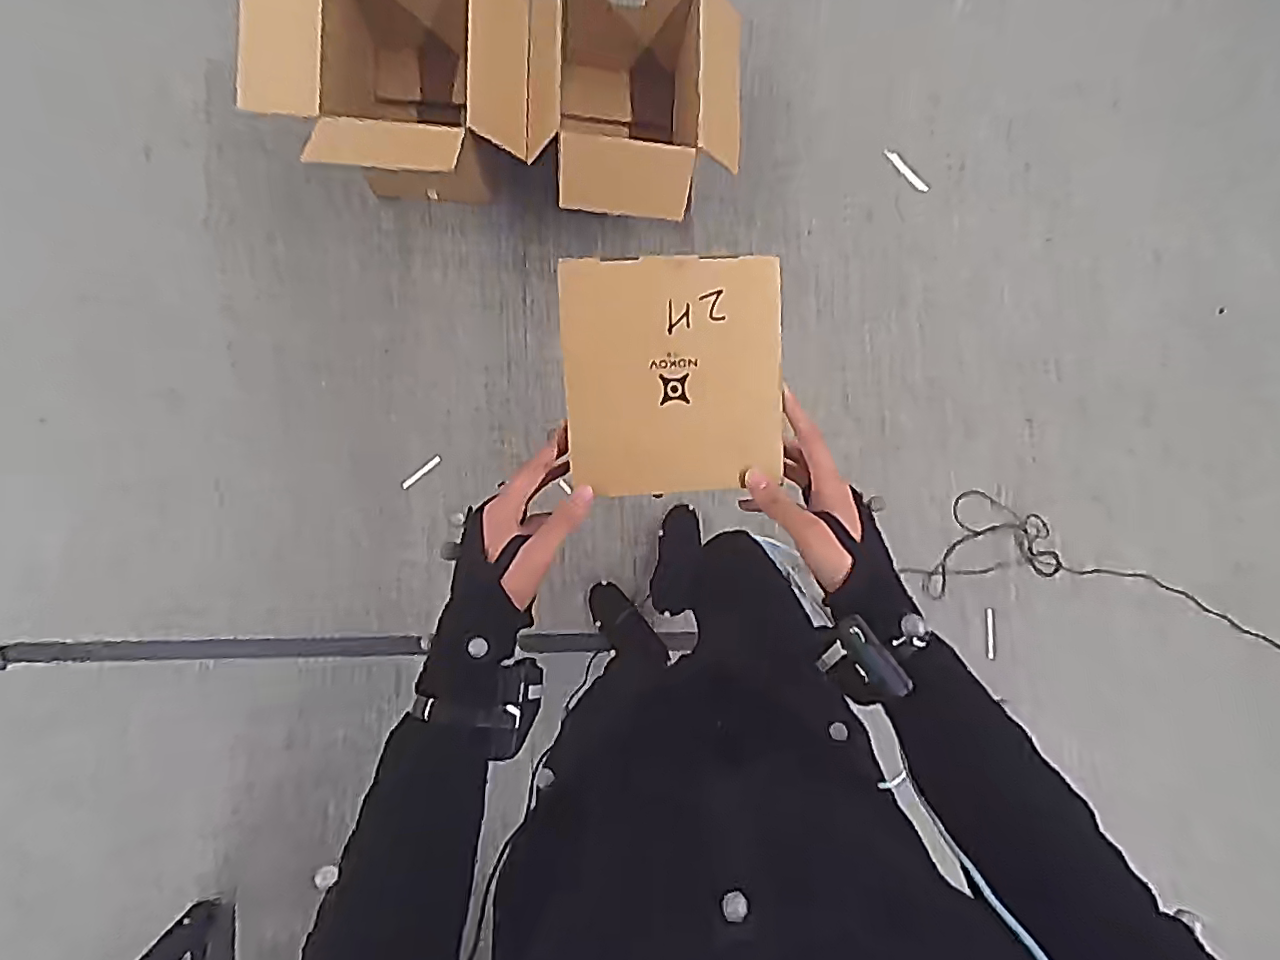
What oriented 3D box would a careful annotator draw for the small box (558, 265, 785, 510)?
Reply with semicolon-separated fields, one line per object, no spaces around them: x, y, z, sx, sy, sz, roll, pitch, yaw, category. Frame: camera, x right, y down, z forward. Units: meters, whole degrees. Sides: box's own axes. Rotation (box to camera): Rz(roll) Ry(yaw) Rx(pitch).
0.018;-0.077;0.473;0.168;0.176;0.179;-3;97;-7;small box
